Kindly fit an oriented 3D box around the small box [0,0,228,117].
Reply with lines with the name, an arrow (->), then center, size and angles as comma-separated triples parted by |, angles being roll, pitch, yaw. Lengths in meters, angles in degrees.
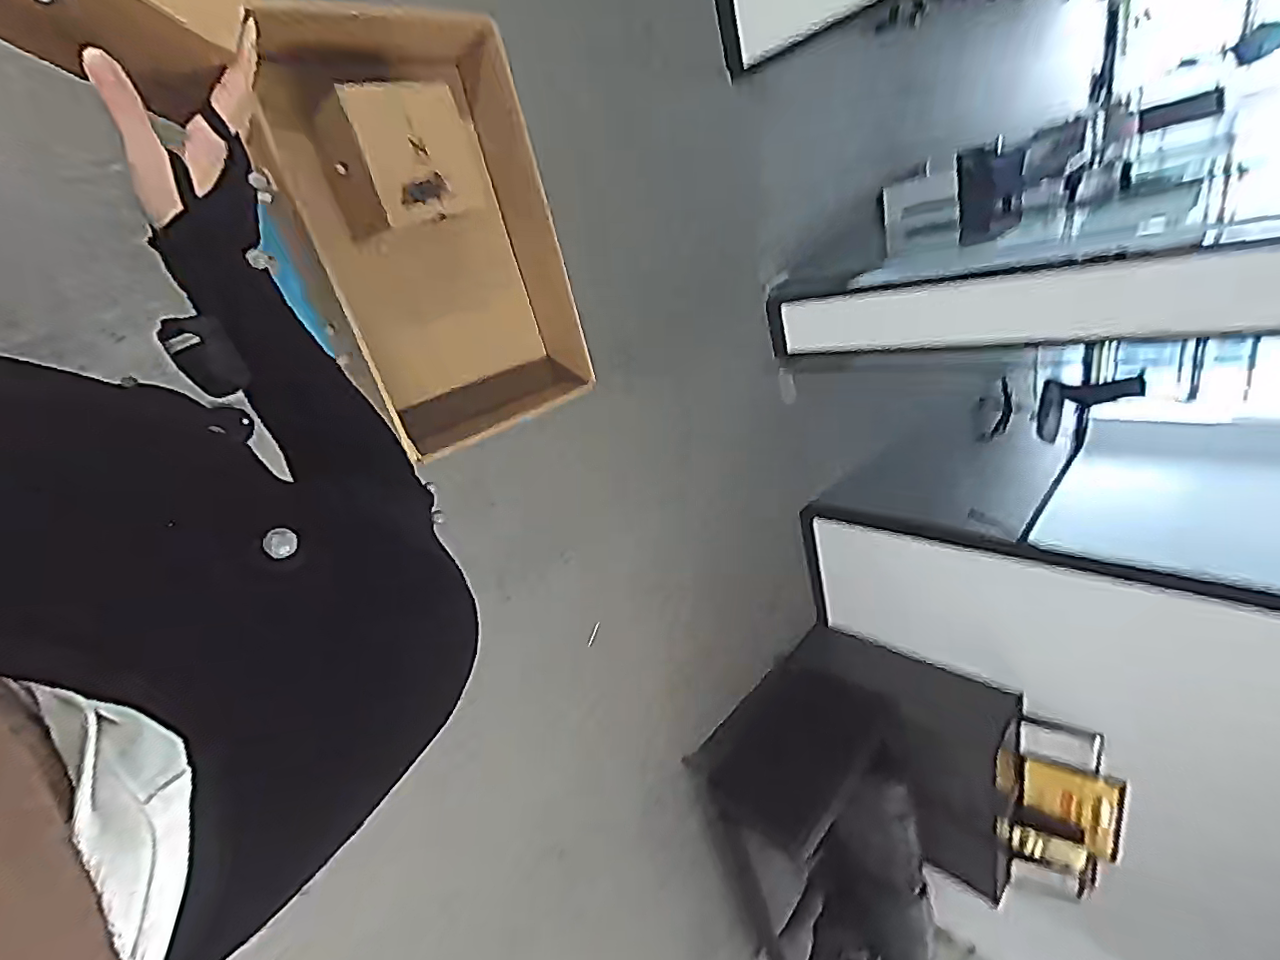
small box -> -0.380, -0.386, 0.353 | 0.179, 0.176, 0.168 | 13, 86, -47
